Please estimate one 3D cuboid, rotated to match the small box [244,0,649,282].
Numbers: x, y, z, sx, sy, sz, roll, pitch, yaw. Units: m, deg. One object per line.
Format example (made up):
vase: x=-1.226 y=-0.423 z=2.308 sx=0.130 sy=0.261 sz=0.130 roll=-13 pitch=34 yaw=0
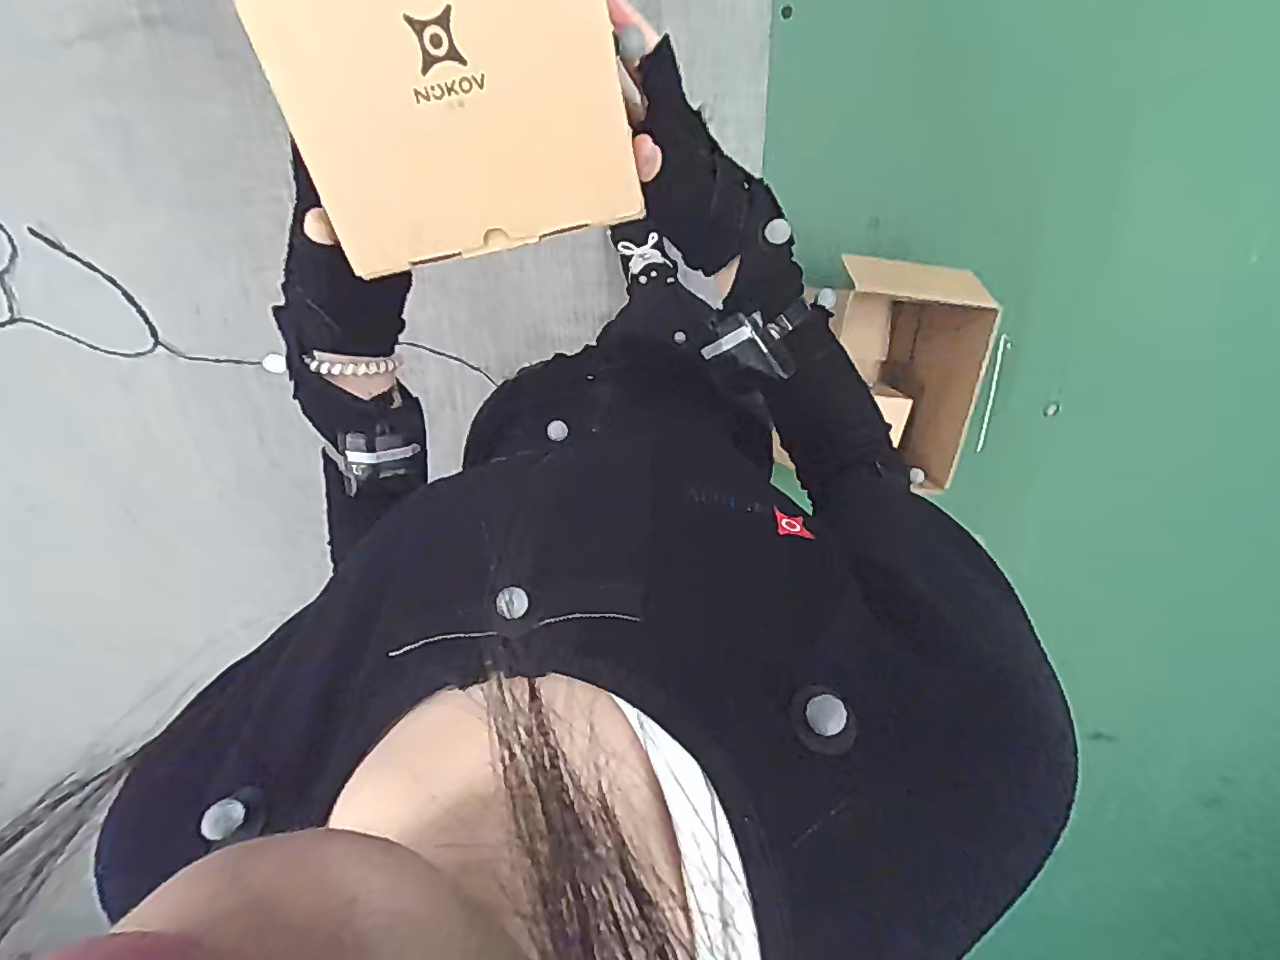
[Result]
small box: x=-0.096 y=-0.240 z=0.327 sx=0.168 sy=0.176 sz=0.179 roll=-12 pitch=121 yaw=3
